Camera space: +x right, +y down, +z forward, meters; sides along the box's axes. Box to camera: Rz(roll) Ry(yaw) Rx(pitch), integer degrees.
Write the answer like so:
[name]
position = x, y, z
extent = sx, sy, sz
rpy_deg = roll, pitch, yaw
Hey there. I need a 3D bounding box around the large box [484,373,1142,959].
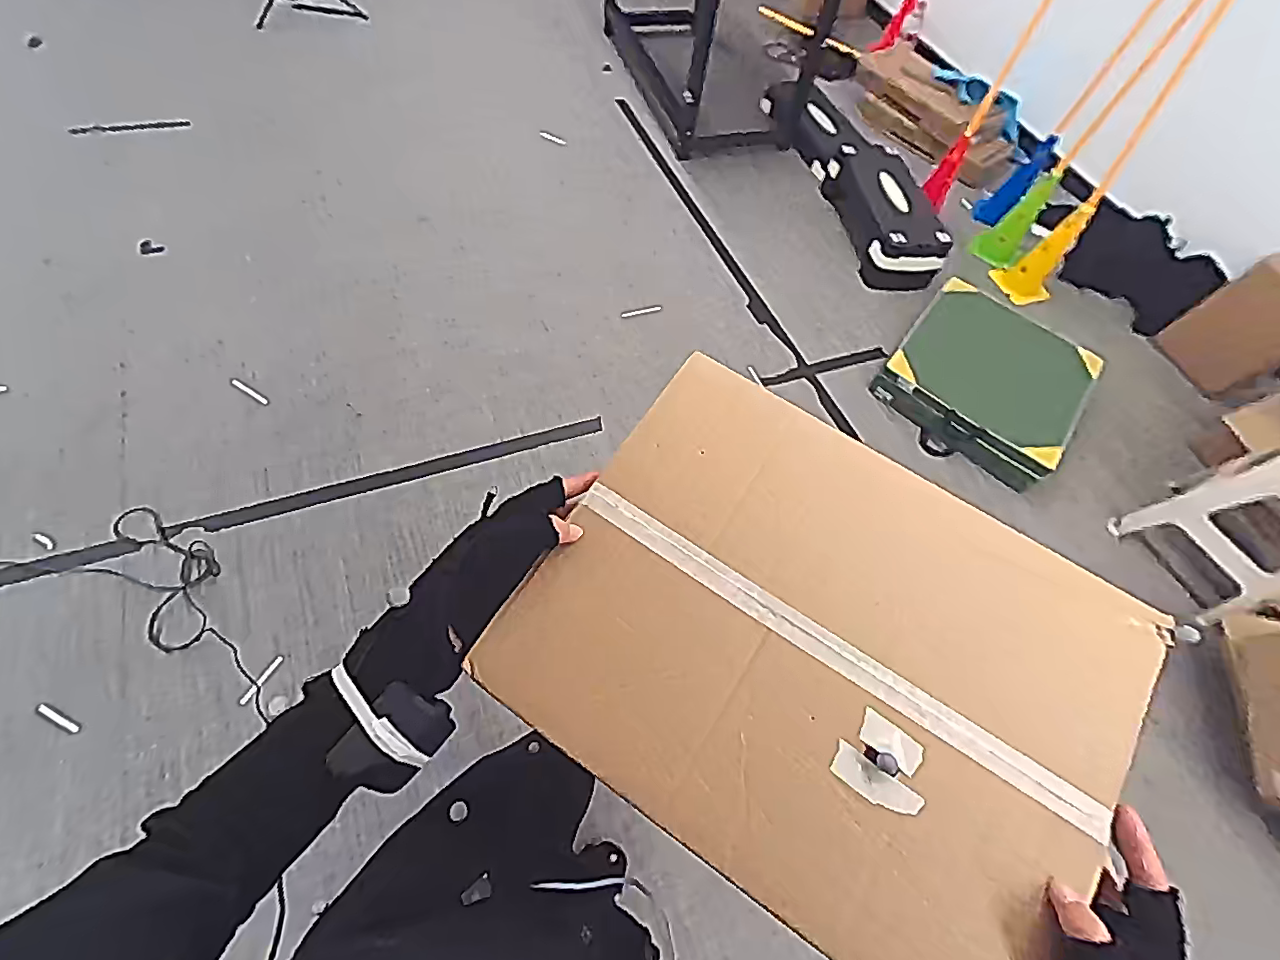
[large box]
position = 0.129, 0.173, 0.538
extent = 0.408, 0.320, 0.320
rpy_deg = 33, 74, 11
